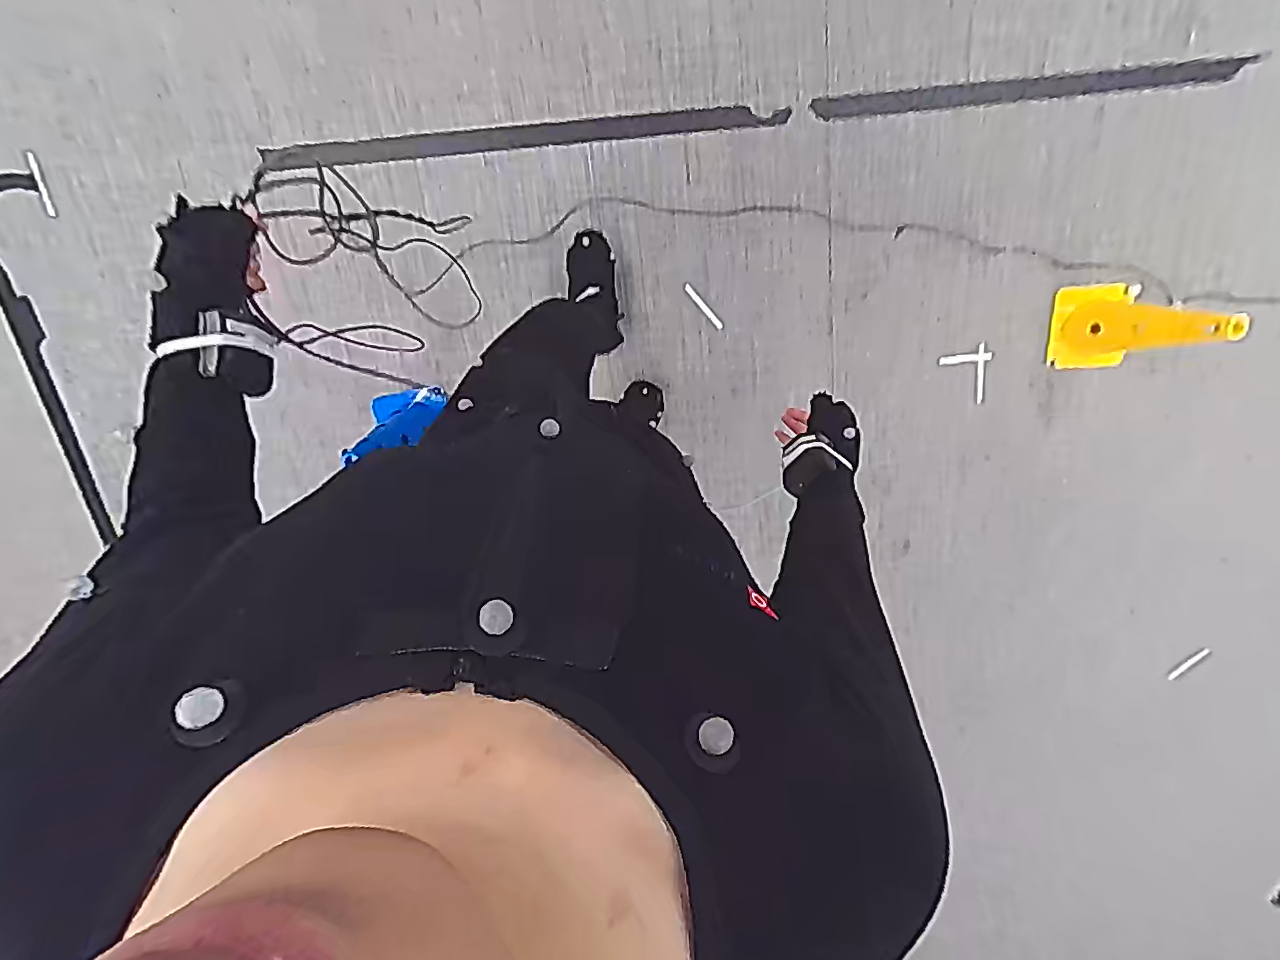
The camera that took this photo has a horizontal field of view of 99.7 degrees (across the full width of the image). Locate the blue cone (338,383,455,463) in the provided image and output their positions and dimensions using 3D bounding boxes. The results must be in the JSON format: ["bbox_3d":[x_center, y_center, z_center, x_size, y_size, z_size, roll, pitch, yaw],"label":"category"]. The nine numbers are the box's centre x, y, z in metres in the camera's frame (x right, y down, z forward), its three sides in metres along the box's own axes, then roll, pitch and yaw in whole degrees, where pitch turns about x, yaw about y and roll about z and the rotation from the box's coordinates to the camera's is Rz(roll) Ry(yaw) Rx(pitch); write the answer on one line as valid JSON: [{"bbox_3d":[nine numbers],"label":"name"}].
[{"bbox_3d":[-0.592,-0.101,1.267,0.193,0.380,0.192,-10,106,2],"label":"blue cone"}]
